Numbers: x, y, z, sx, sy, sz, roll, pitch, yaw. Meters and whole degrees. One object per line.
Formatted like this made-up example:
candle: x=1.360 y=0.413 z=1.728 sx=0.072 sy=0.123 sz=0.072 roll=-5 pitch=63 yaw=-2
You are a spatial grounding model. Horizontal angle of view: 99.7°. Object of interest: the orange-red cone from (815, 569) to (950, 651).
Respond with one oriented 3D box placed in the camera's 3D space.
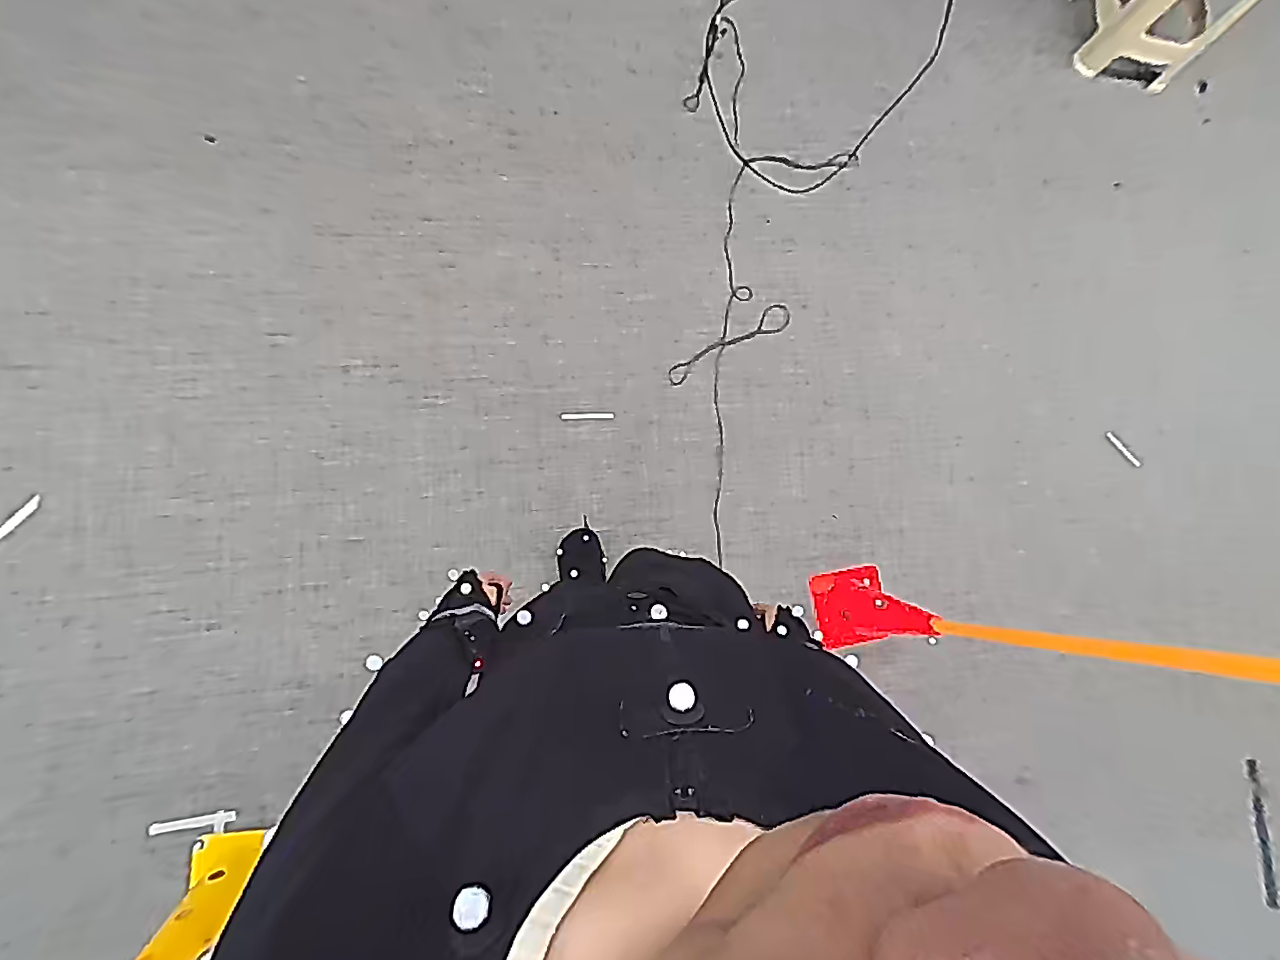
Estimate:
orange-red cone: x=0.588 y=0.320 z=1.264 sx=0.199 sy=0.360 sz=0.198 roll=-8 pitch=83 yaw=-7
